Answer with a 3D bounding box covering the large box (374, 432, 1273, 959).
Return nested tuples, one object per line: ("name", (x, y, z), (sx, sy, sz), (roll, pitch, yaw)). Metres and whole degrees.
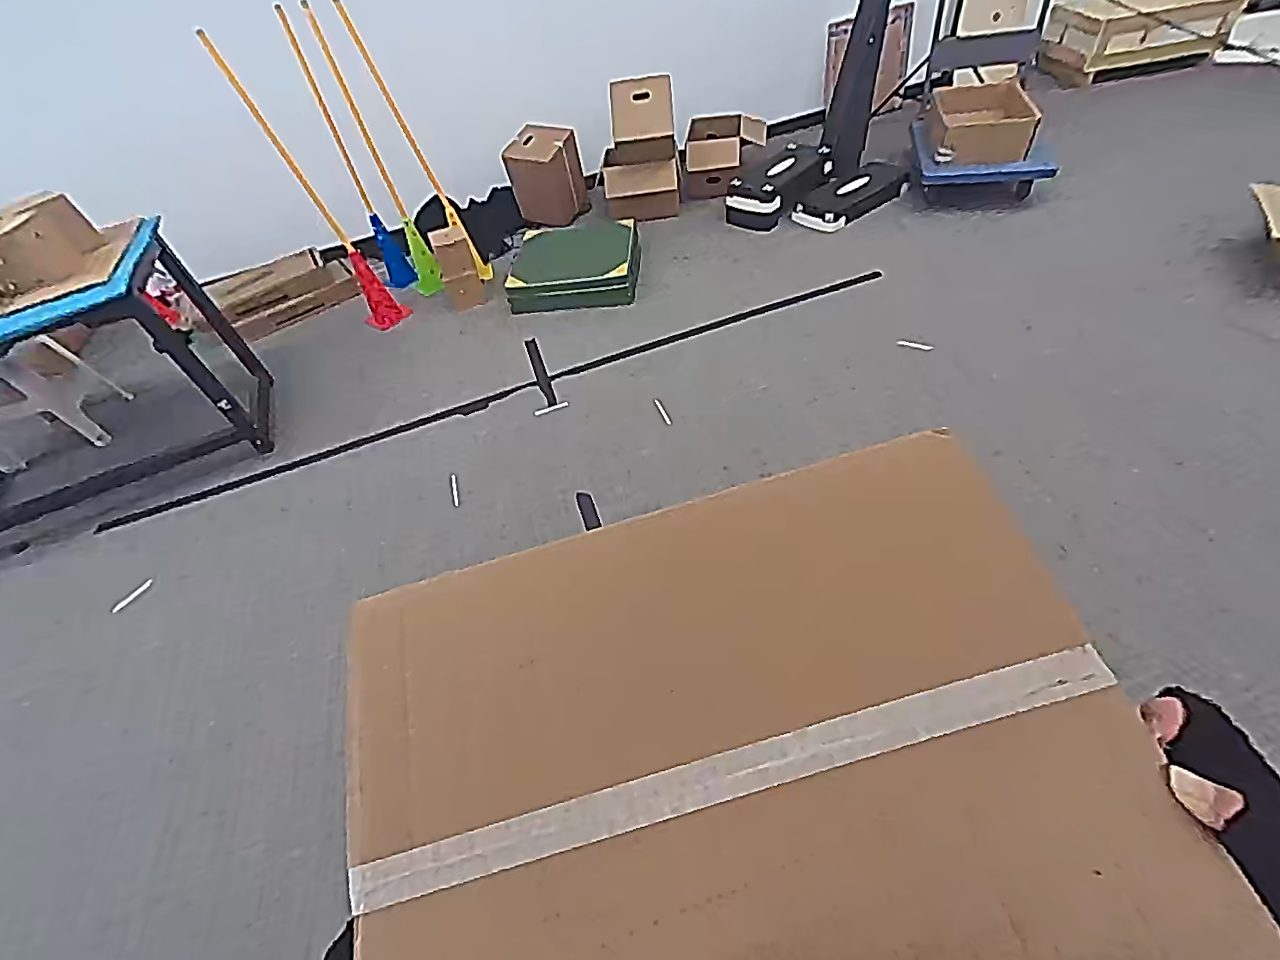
("large box", (0.067, 0.221, 0.426), (0.408, 0.320, 0.320), (-17, 63, 0))
